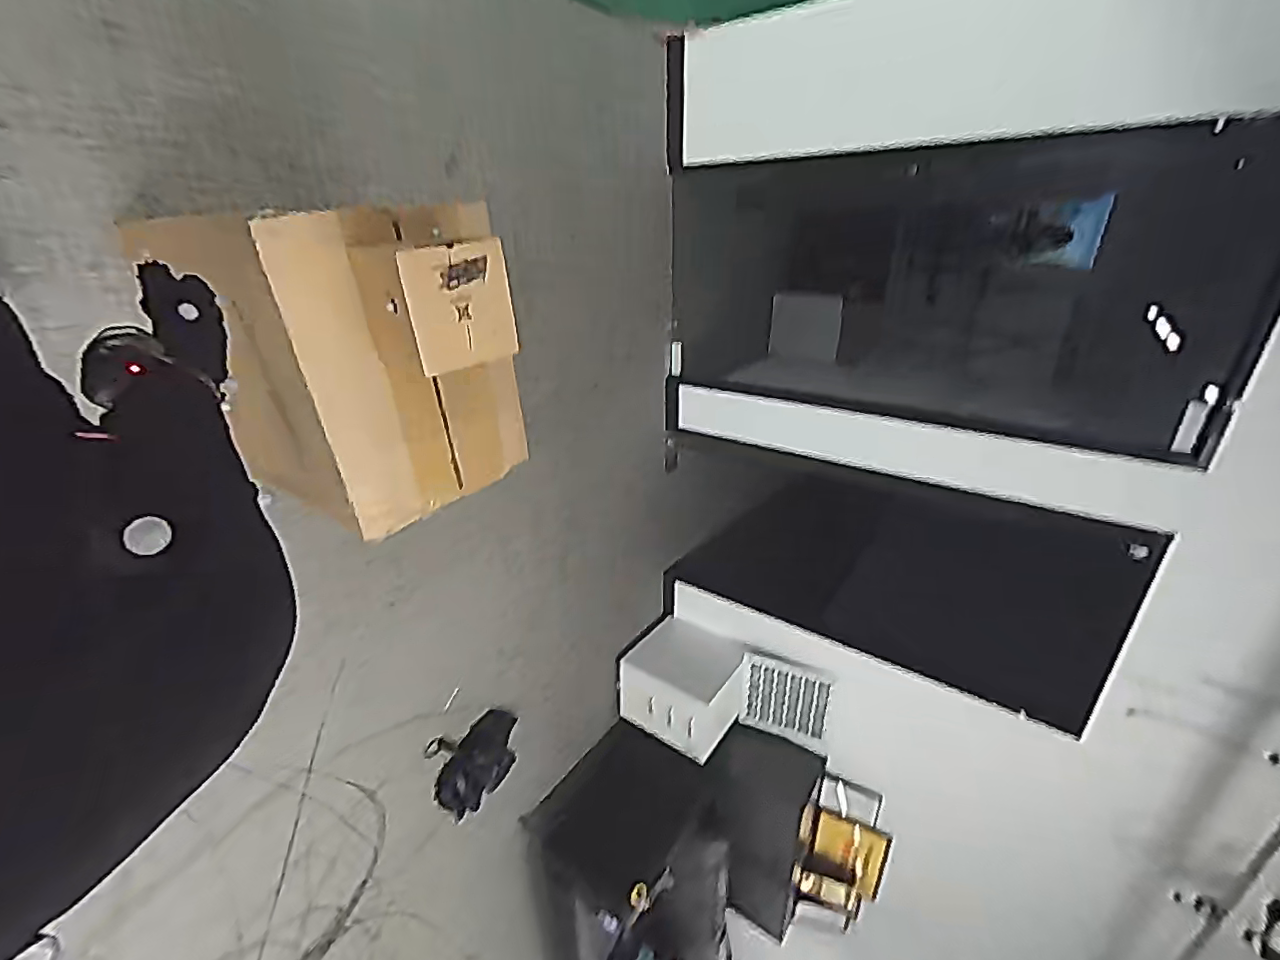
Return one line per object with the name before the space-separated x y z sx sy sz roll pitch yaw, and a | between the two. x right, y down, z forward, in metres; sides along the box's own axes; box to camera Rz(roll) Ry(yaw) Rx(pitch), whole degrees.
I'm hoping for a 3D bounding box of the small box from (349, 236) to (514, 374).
small box | -0.324 -0.281 0.846 0.168 0.176 0.179 -28 128 -38
